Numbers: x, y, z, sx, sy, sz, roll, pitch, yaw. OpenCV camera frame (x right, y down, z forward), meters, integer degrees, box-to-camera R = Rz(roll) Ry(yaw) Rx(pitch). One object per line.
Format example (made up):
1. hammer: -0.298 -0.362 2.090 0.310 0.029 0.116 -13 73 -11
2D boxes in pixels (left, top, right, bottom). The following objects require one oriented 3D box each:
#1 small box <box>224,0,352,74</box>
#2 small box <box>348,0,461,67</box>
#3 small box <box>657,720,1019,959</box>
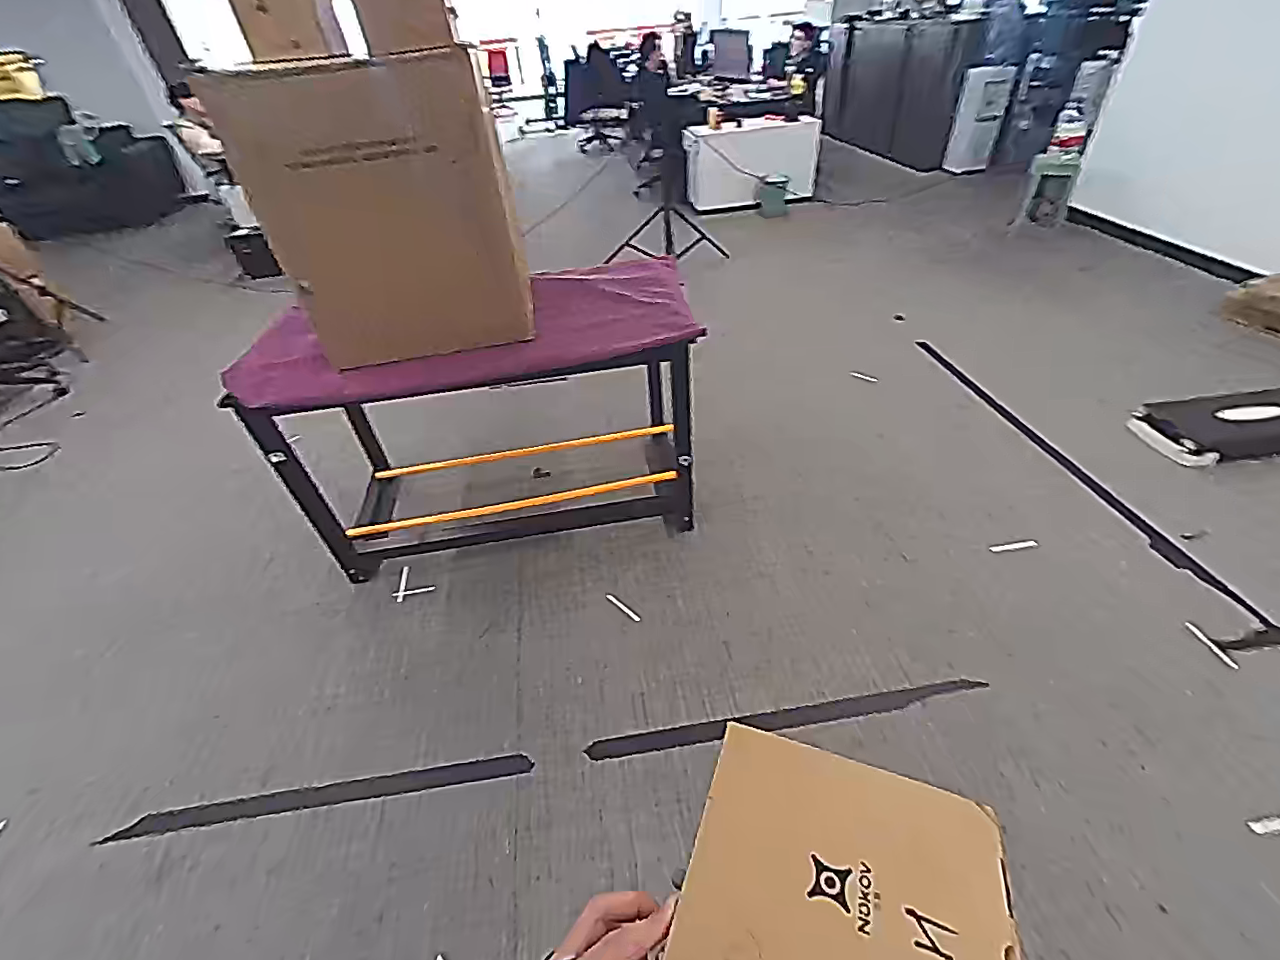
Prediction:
1. small box: -0.749 -0.982 1.158 0.168 0.176 0.179 -8 41 -3
2. small box: -0.465 -0.924 1.055 0.179 0.176 0.168 -13 42 -6
3. small box: 0.117 0.299 0.349 0.179 0.176 0.168 11 34 18
